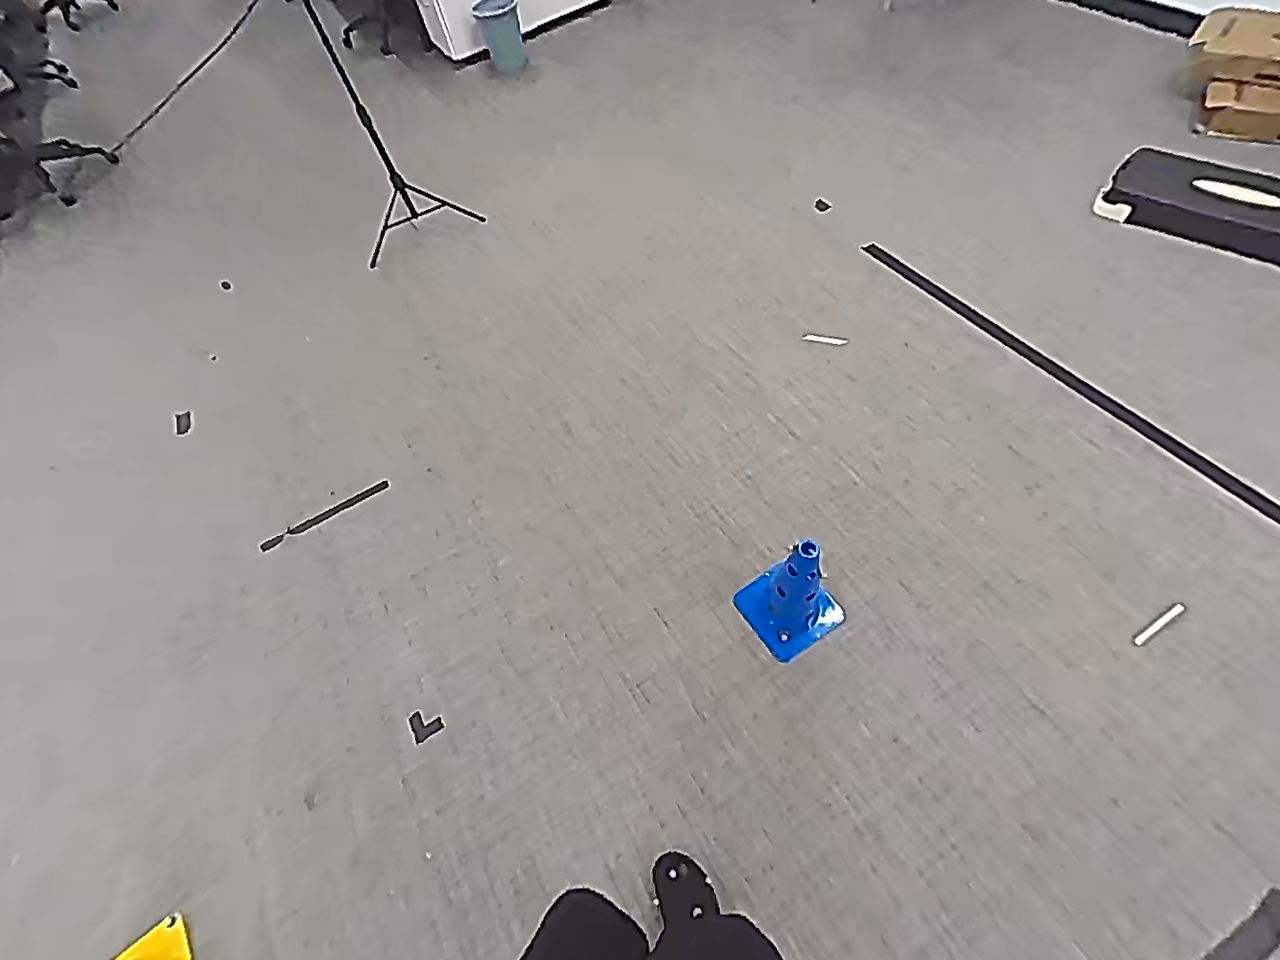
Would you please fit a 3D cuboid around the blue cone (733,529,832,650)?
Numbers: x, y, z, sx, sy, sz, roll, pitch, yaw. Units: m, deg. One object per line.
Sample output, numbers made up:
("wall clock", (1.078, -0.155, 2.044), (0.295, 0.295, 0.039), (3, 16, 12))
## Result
("blue cone", (0.322, 0.211, 1.167), (0.193, 0.380, 0.192), (-30, 59, -10))
